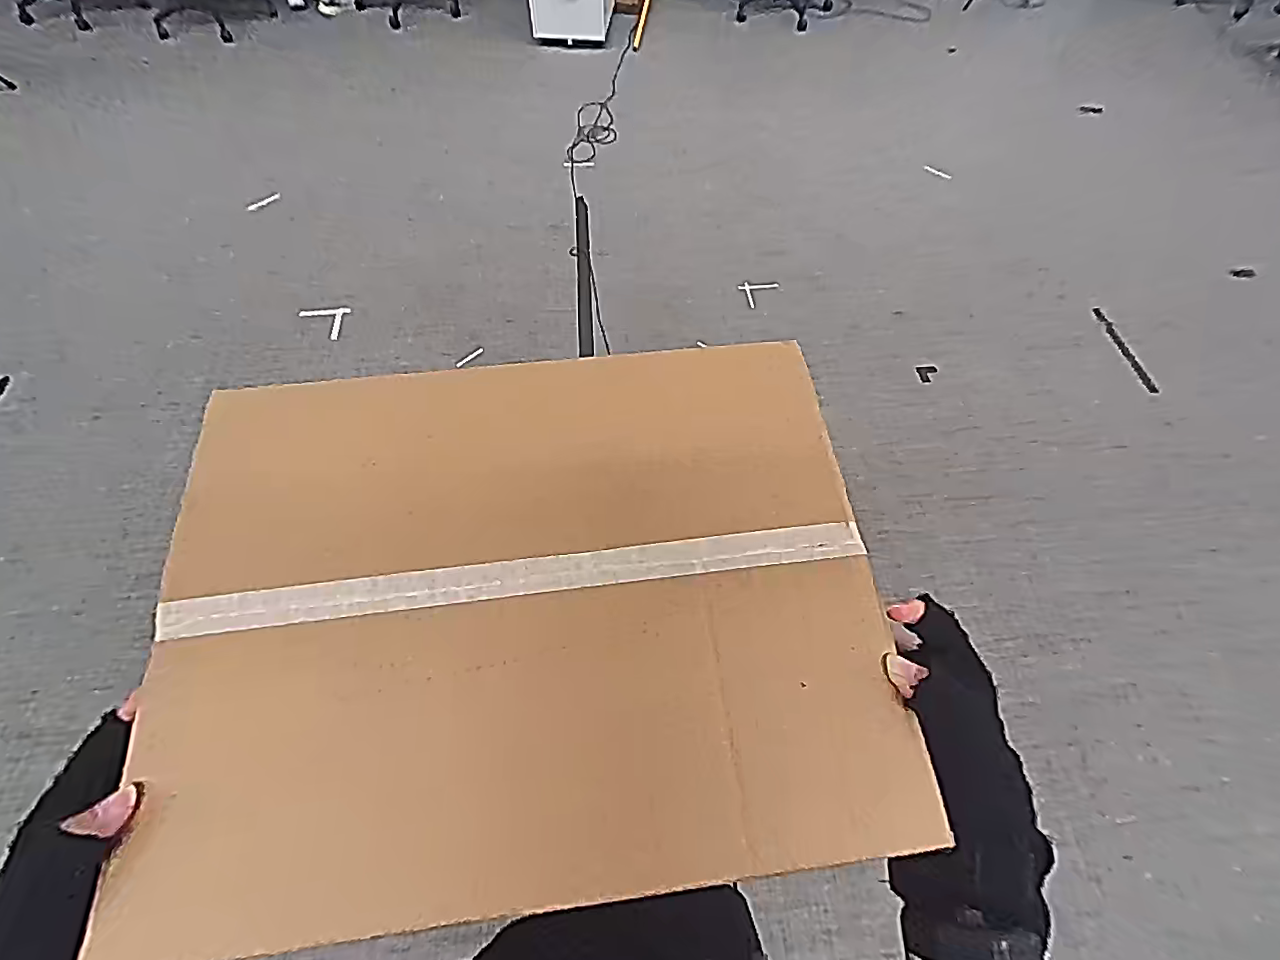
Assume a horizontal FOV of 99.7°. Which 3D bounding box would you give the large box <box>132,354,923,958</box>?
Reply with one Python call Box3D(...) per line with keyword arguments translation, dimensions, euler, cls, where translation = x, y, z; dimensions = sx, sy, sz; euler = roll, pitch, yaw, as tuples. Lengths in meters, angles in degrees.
Box3D(translation=(-0.069, 0.128, 0.465), dimensions=(0.408, 0.320, 0.320), euler=(-6, 66, -4), cls="large box")
